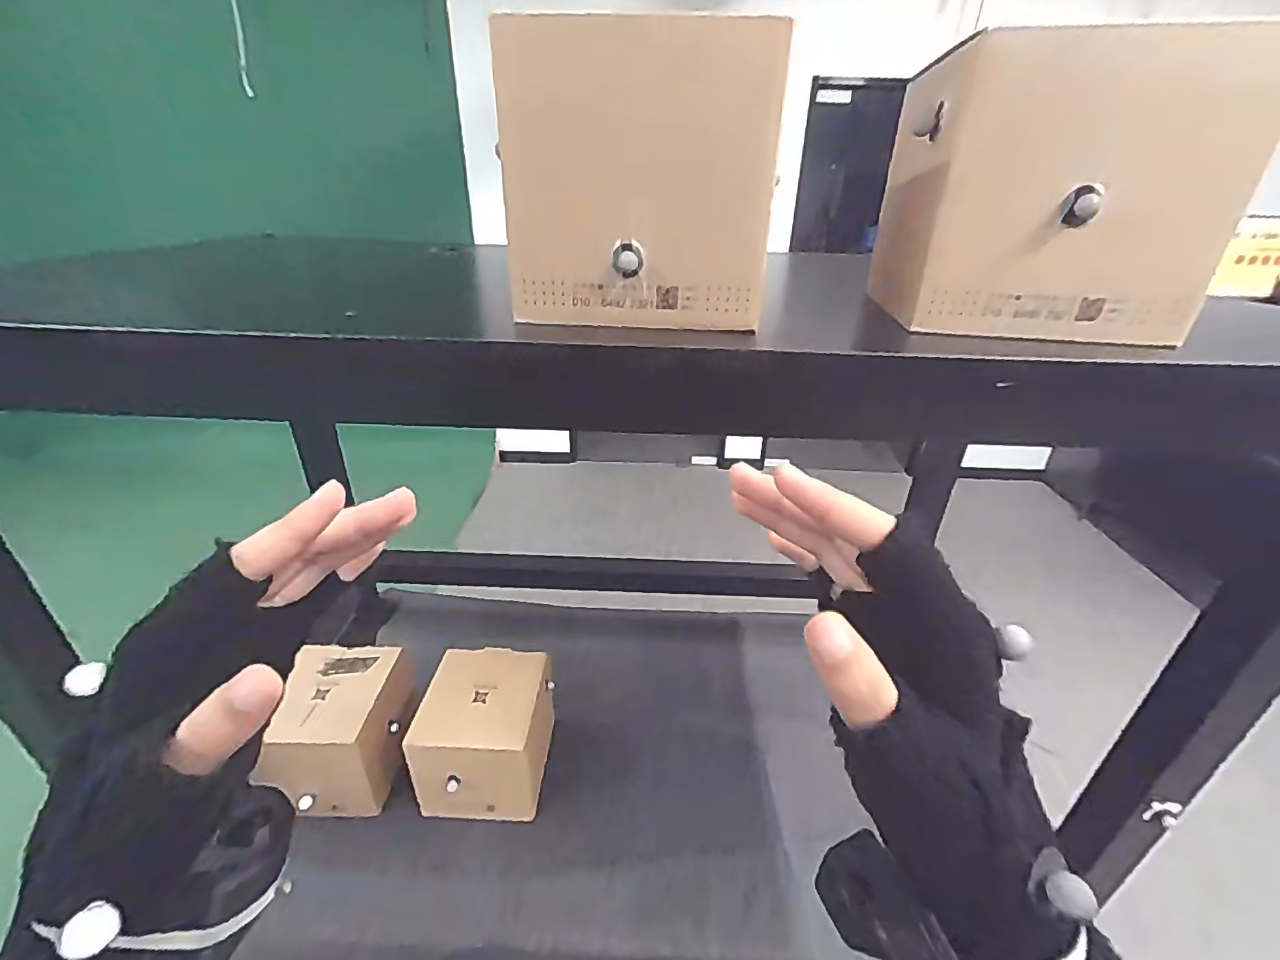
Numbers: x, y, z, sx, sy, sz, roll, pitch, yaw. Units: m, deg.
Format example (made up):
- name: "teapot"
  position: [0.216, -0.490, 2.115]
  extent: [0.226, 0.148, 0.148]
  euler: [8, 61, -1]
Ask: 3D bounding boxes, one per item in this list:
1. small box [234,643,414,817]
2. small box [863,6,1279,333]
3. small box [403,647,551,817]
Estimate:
- name: "small box"
  position: [-0.459, 0.374, 0.822]
  extent: [0.168, 0.176, 0.179]
  euler: [1, 28, -1]
- name: "small box"
  position: [0.276, -0.210, 0.395]
  extent: [0.168, 0.176, 0.179]
  euler: [6, 28, 9]
- name: "small box"
  position: [-0.232, 0.381, 0.824]
  extent: [0.168, 0.176, 0.179]
  euler: [2, 27, 1]
